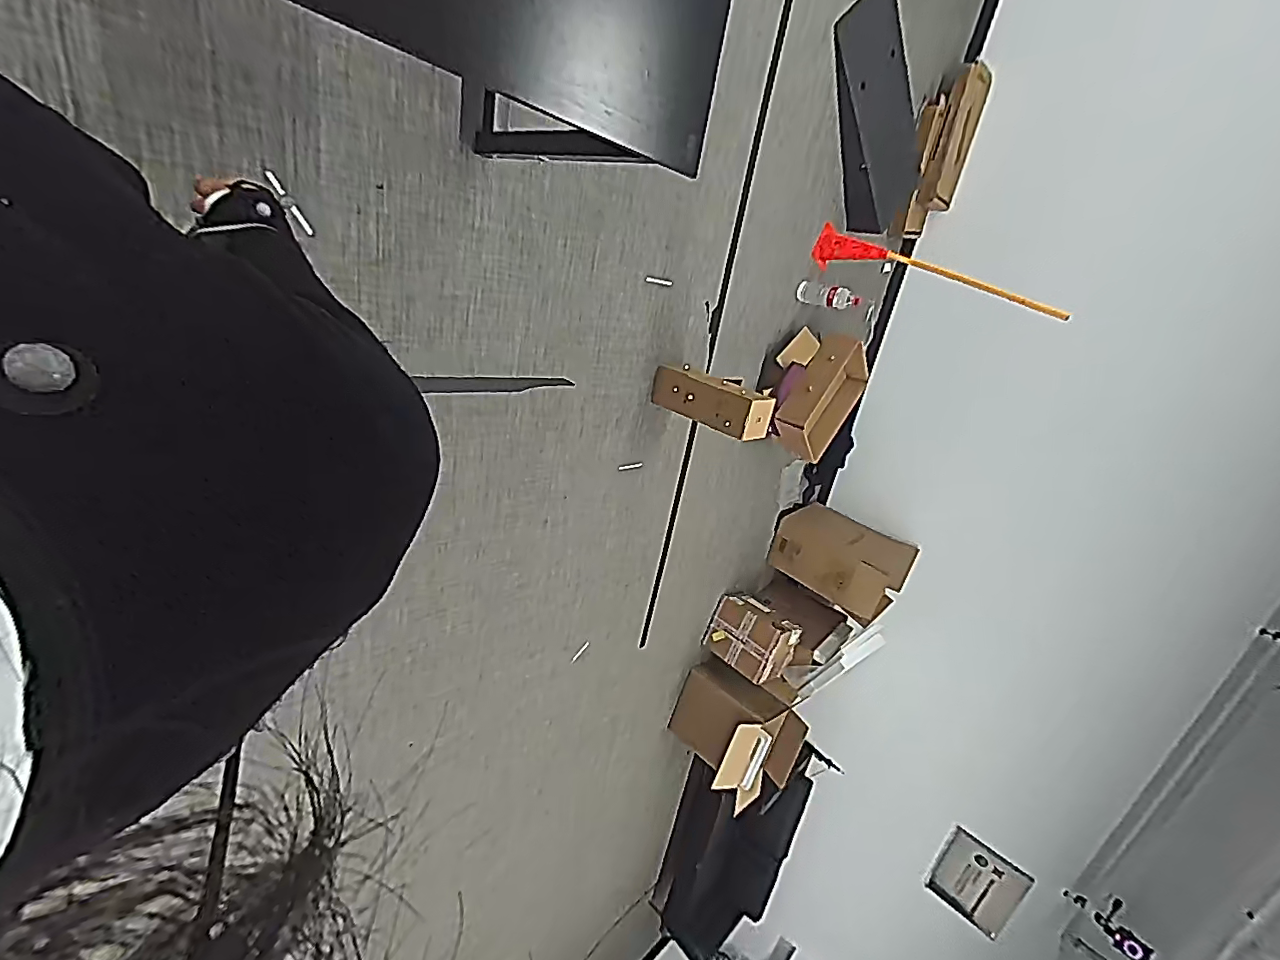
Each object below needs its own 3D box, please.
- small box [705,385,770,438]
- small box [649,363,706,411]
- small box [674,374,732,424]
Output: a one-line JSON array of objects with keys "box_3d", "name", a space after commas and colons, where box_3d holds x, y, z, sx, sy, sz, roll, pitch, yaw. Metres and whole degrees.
[{"box_3d": [0.387, -0.278, 2.169, 0.179, 0.176, 0.168, -13, 123, -47], "name": "small box"}, {"box_3d": [0.158, -0.407, 2.363, 0.168, 0.176, 0.179, -11, 121, -46], "name": "small box"}, {"box_3d": [0.270, -0.342, 2.263, 0.179, 0.176, 0.168, -11, 120, -46], "name": "small box"}]
